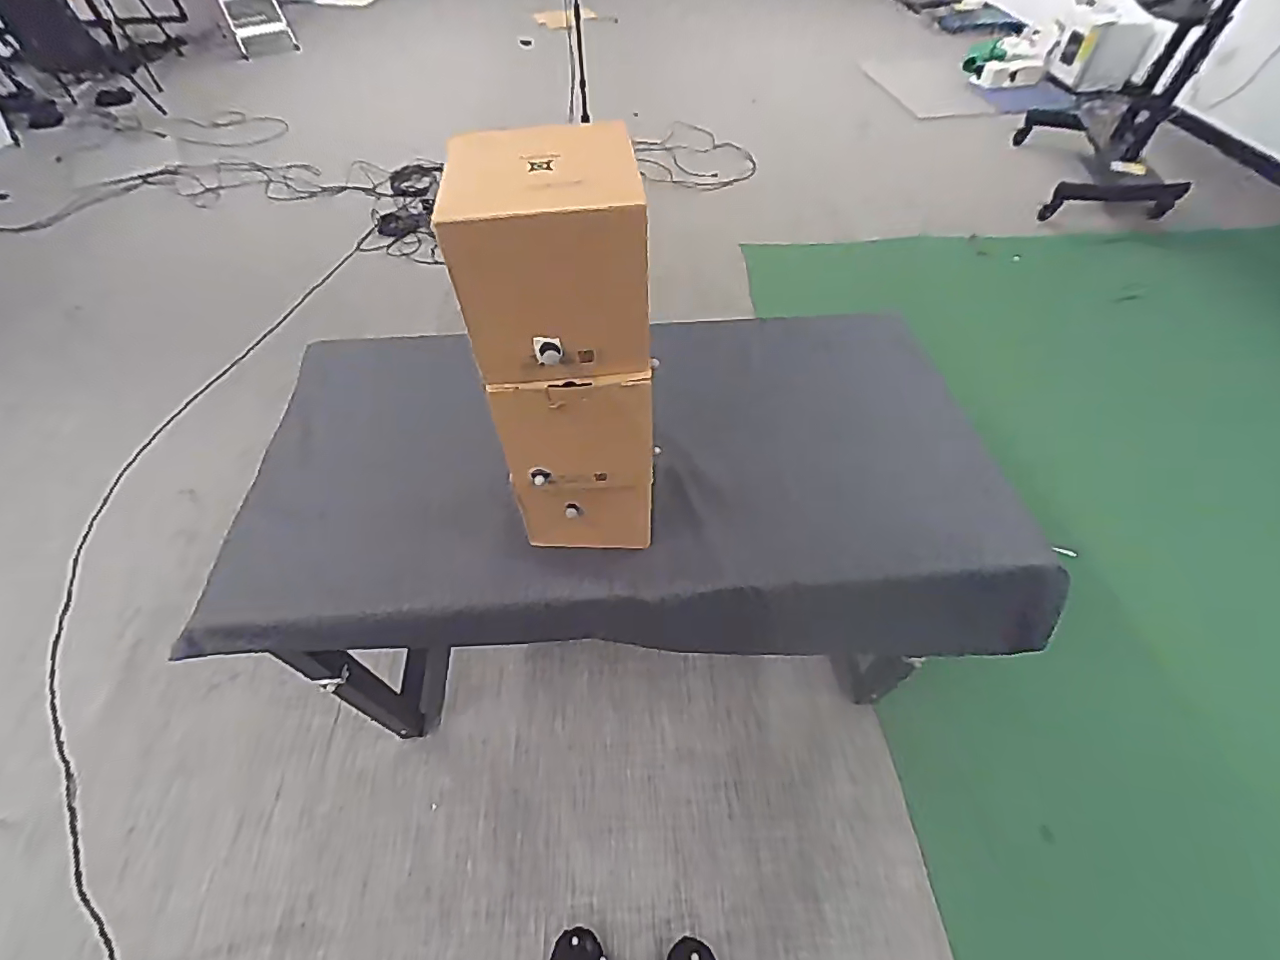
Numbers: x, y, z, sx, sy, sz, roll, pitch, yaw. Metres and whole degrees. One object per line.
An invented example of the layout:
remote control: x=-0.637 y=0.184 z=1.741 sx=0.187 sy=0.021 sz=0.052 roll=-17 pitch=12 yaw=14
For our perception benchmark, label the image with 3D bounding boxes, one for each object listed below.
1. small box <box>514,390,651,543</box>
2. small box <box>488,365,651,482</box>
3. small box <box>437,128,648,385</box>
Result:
small box: x=-0.073 y=-0.019 z=0.795 sx=0.179 sy=0.176 sz=0.168 roll=-1 pitch=50 yaw=0
small box: x=-0.077 y=-0.110 z=0.655 sx=0.168 sy=0.176 sz=0.179 roll=-6 pitch=53 yaw=-3
small box: x=-0.084 y=-0.218 z=0.534 sx=0.168 sy=0.176 sz=0.179 roll=-7 pitch=53 yaw=-3
